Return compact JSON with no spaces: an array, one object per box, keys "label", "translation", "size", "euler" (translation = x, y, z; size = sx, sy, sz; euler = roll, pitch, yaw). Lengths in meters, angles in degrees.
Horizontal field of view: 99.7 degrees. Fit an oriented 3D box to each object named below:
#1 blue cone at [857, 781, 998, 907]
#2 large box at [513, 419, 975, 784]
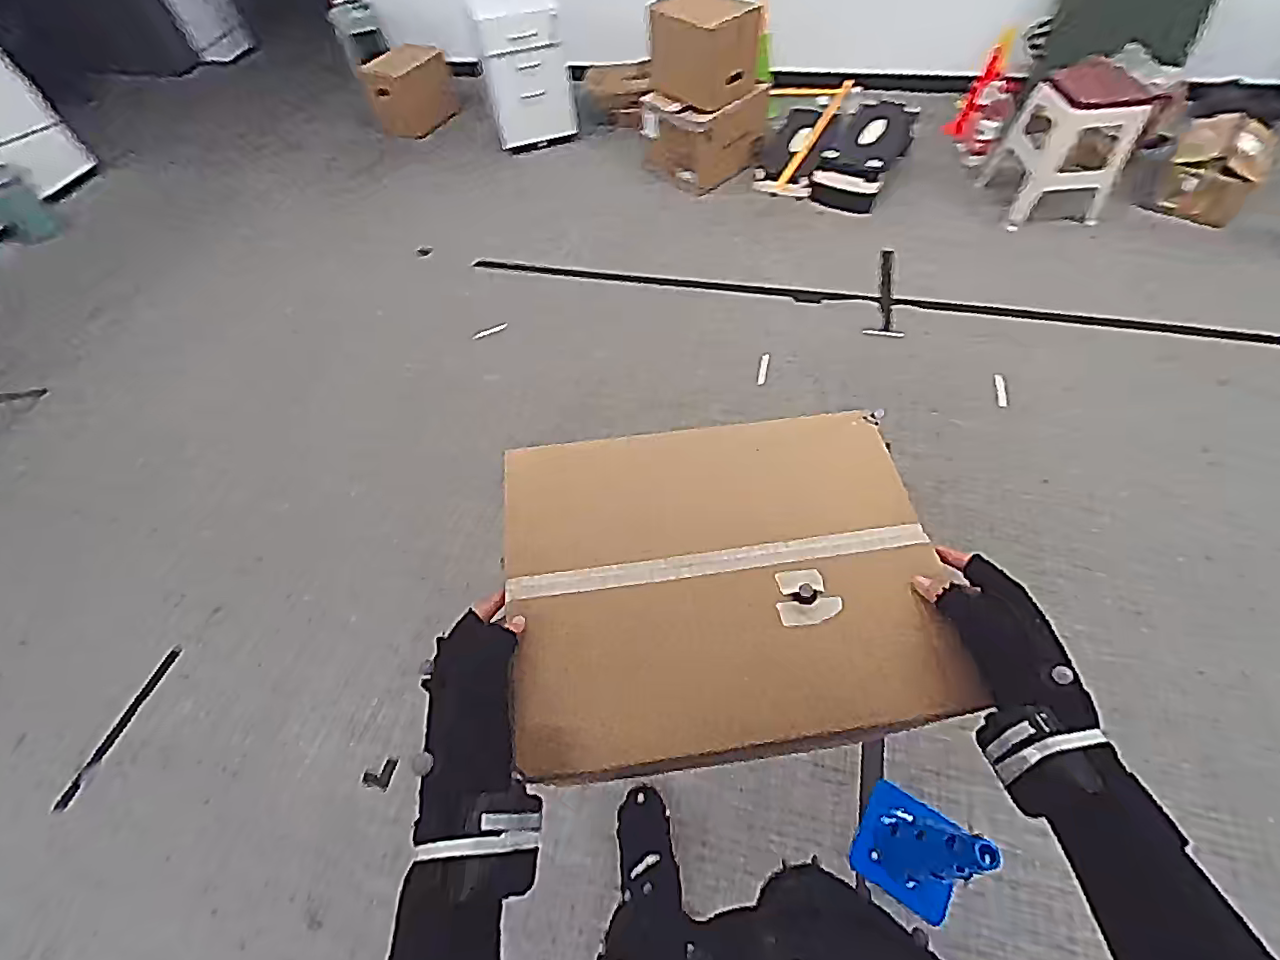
[{"label":"blue cone","translation":[0.576,0.693,1.036],"size":[0.193,0.380,0.192],"euler":[29,63,21]},{"label":"large box","translation":[0.076,0.159,0.657],"size":[0.408,0.320,0.320],"euler":[-6,59,-4]}]
